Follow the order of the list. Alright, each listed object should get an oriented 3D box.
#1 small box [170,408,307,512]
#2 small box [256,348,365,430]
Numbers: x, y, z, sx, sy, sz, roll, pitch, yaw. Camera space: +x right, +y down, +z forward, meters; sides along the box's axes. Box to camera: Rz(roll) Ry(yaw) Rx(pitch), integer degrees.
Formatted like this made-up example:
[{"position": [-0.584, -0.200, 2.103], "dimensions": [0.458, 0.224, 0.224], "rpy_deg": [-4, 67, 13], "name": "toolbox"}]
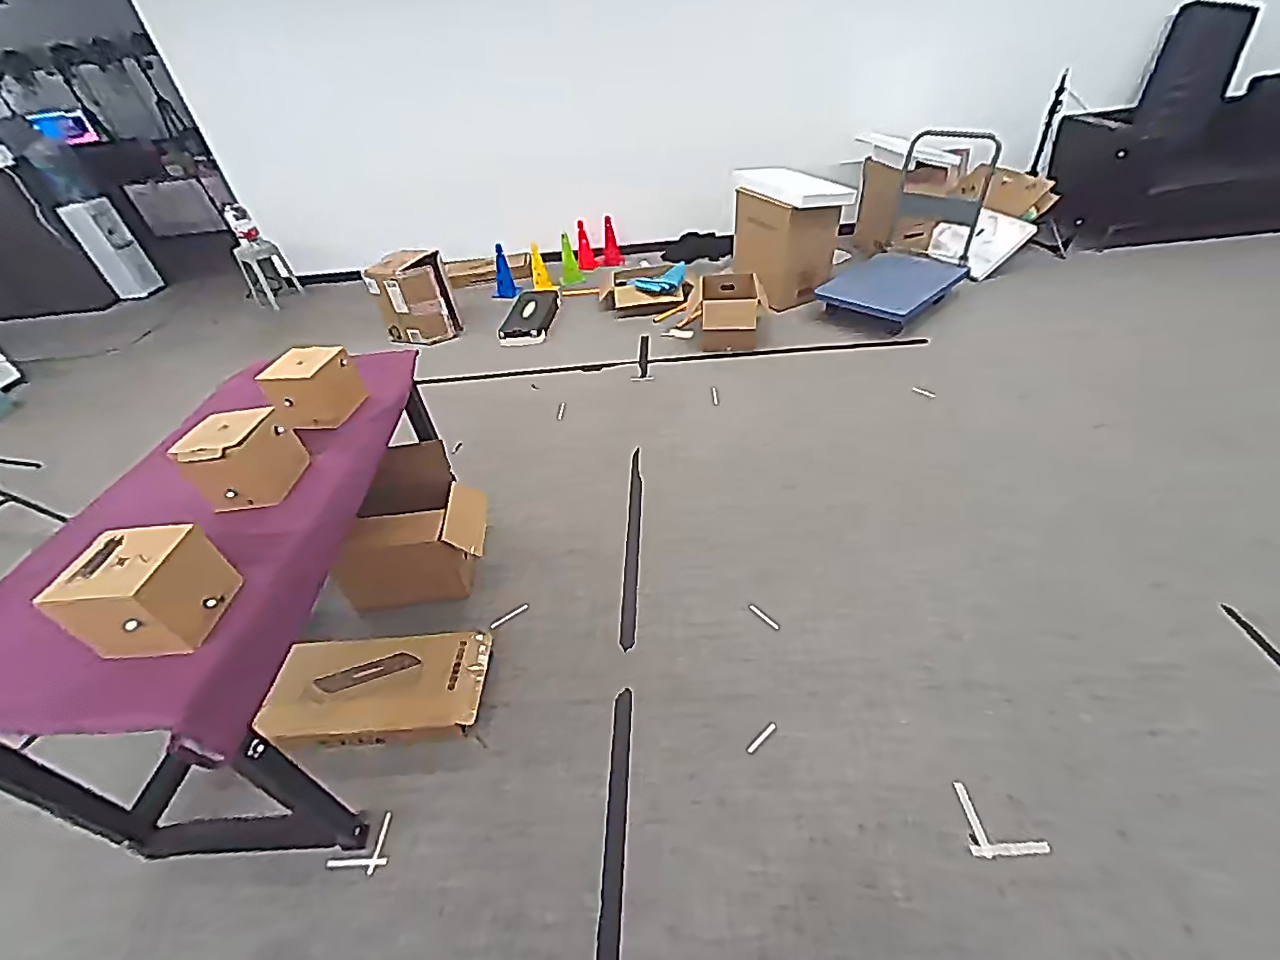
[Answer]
[{"position": [-0.931, -0.046, 1.279], "dimensions": [0.168, 0.176, 0.179], "rpy_deg": [-7, 40, 4], "name": "small box"}, {"position": [-0.914, -0.252, 1.521], "dimensions": [0.168, 0.176, 0.179], "rpy_deg": [-1, 40, 8], "name": "small box"}]
